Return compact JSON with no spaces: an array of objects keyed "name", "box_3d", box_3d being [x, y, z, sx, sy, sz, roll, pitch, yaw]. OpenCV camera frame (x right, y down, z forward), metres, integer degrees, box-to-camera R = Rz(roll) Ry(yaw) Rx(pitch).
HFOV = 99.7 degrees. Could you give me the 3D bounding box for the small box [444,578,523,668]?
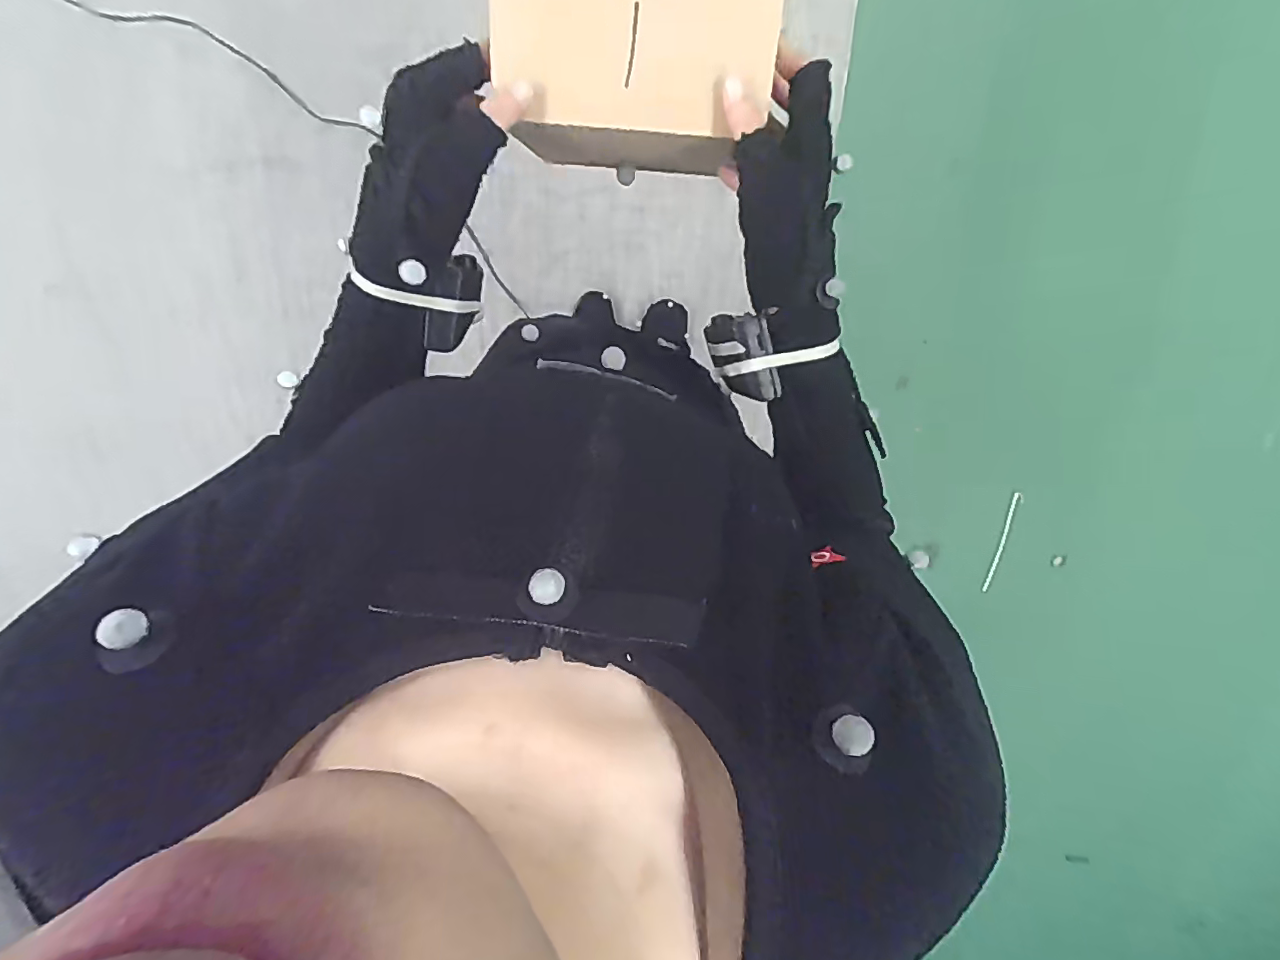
[{"name":"small box","box_3d":[-0.420,0.382,1.471,0.168,0.176,0.179,5,108,1]}]
